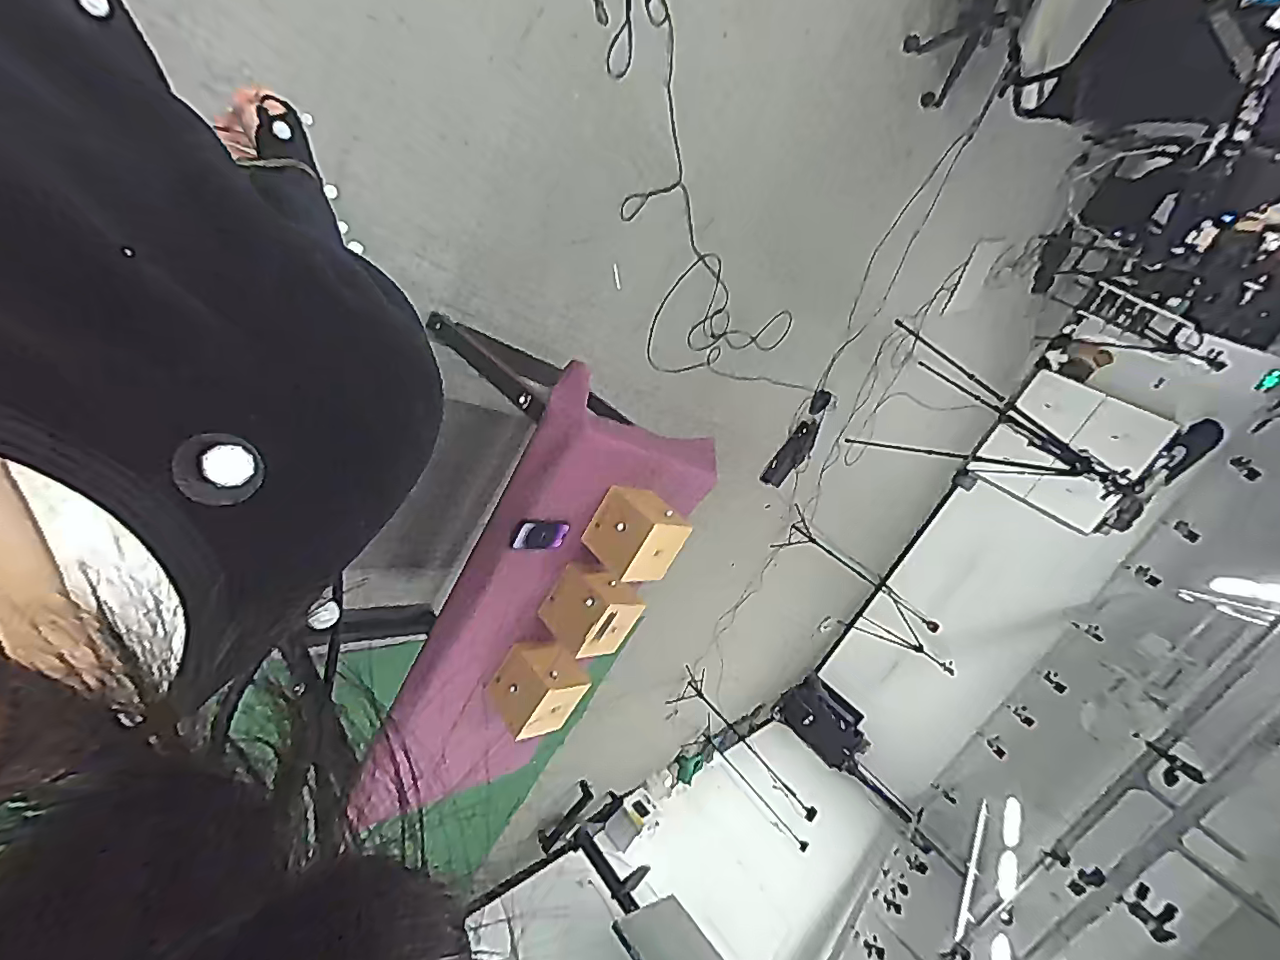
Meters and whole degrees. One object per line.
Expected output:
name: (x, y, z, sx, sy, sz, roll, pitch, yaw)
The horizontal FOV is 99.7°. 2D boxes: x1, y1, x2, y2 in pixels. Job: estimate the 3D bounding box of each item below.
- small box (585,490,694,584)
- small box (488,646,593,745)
small box: (-0.005, 0.140, 1.335, 0.179, 0.176, 0.168, 11, 113, -54)
small box: (-0.265, 0.558, 1.425, 0.168, 0.176, 0.179, -56, 147, 9)
